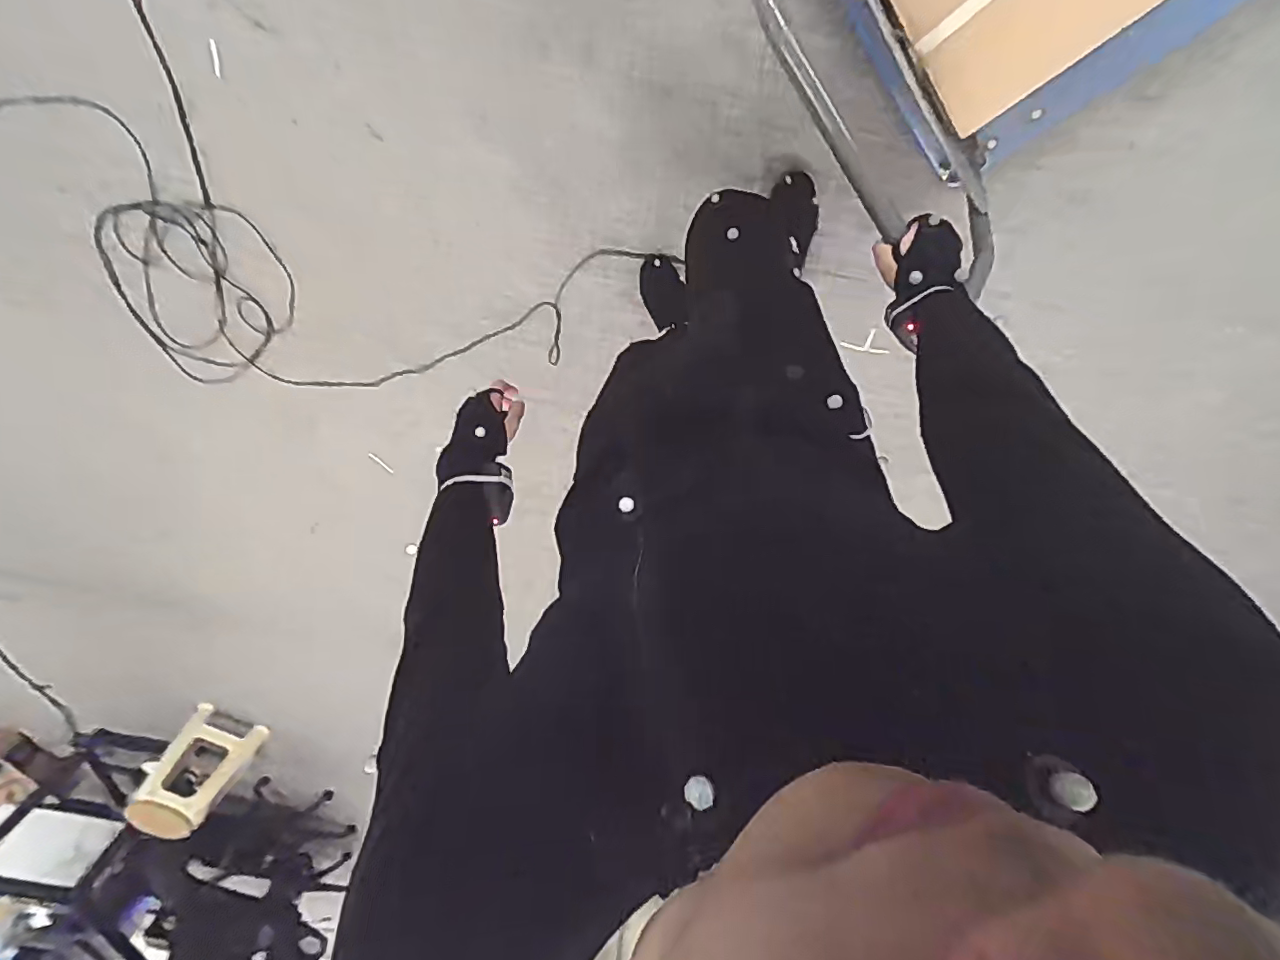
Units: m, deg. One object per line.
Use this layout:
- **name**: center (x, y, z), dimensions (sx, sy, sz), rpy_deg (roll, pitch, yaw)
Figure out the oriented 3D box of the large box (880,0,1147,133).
- **large box**: center (0.599, -0.829, 0.814), dimensions (0.408, 0.320, 0.320), rpy_deg (-27, 116, 38)
